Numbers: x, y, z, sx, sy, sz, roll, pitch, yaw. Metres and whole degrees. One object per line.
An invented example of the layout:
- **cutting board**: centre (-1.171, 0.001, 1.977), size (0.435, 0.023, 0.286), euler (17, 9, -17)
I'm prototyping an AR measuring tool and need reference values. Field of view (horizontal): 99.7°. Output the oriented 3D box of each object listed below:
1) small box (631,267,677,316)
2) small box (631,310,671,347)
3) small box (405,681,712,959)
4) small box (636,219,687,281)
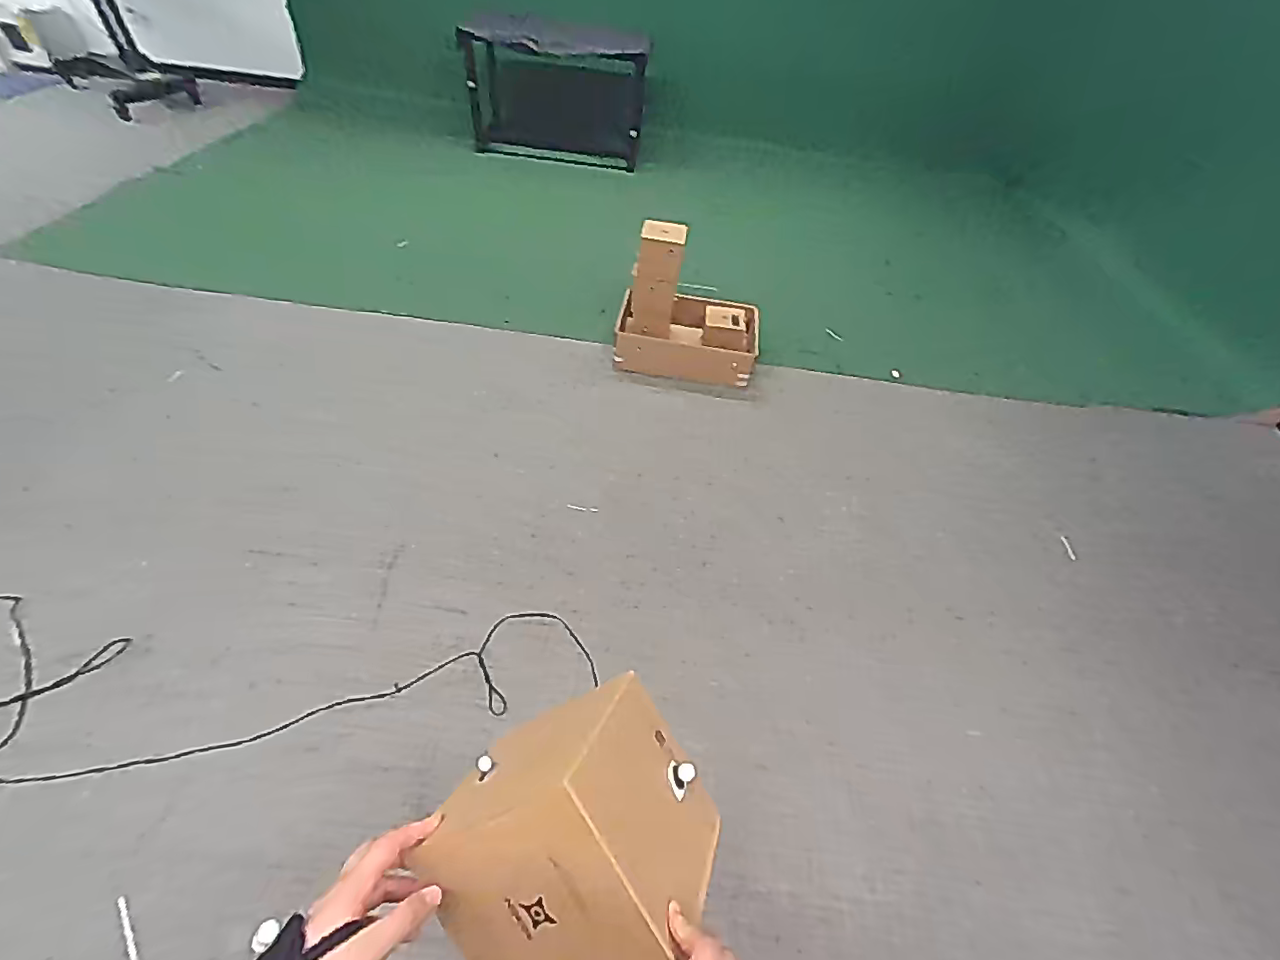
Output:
- **small box**: centre (0.062, -0.832, 2.337), size (0.179, 0.176, 0.168), euler (10, 49, 0)
- **small box**: centre (0.053, -0.731, 2.467), size (0.168, 0.176, 0.179), euler (9, 49, 0)
- **small box**: centre (-0.056, 0.316, 0.479), size (0.168, 0.179, 0.176), euler (56, 17, 0)
- **small box**: centre (0.087, -0.936, 2.211), size (0.179, 0.176, 0.168), euler (9, 48, 1)
